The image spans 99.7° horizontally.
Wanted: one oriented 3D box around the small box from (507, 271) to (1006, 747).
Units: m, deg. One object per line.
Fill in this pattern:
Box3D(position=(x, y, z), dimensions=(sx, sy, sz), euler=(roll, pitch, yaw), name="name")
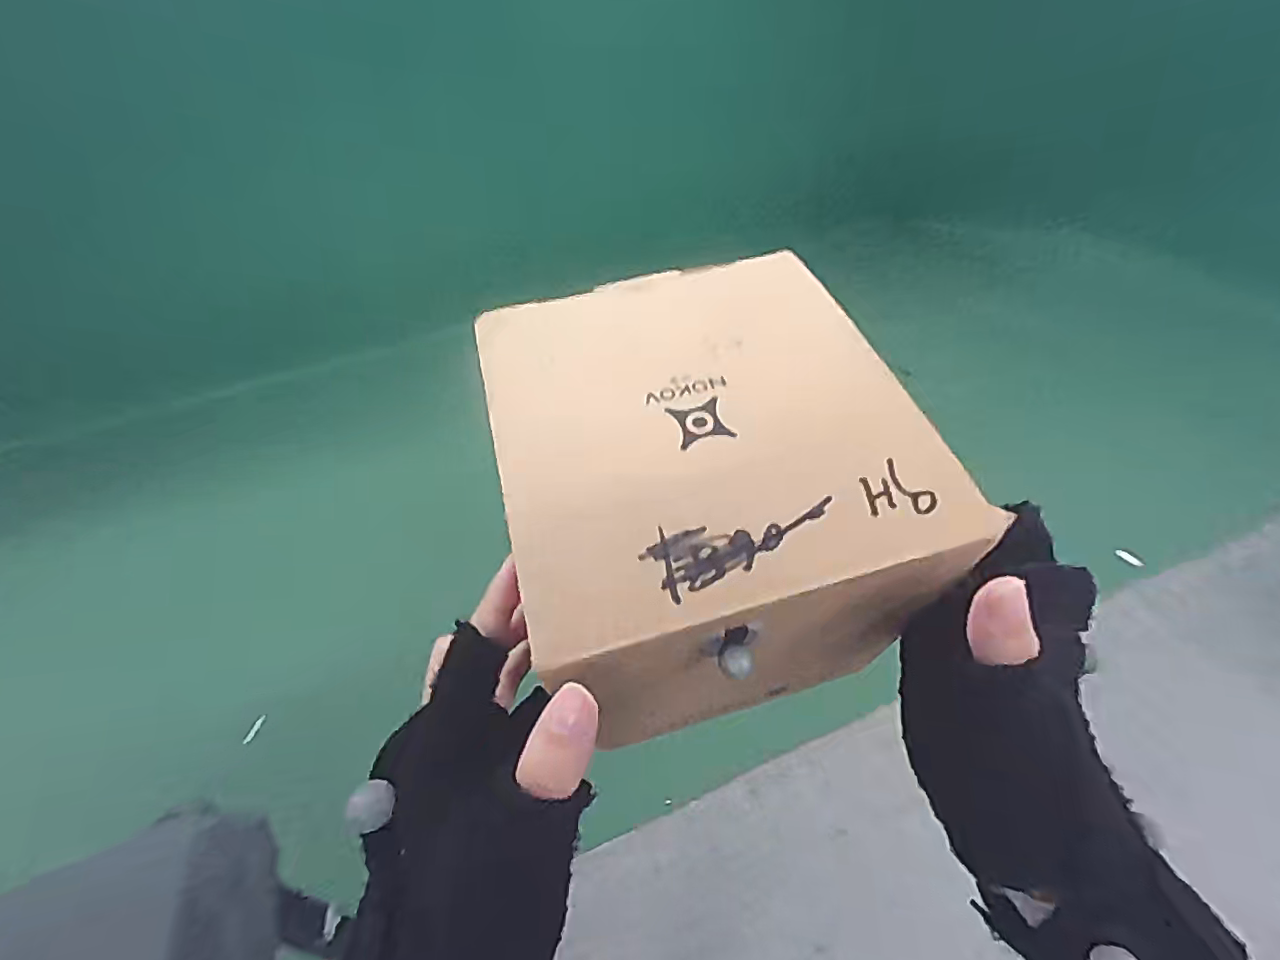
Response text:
Box3D(position=(0.036, 0.021, 0.296), dimensions=(0.168, 0.176, 0.179), euler=(-15, 55, -4), name="small box")
